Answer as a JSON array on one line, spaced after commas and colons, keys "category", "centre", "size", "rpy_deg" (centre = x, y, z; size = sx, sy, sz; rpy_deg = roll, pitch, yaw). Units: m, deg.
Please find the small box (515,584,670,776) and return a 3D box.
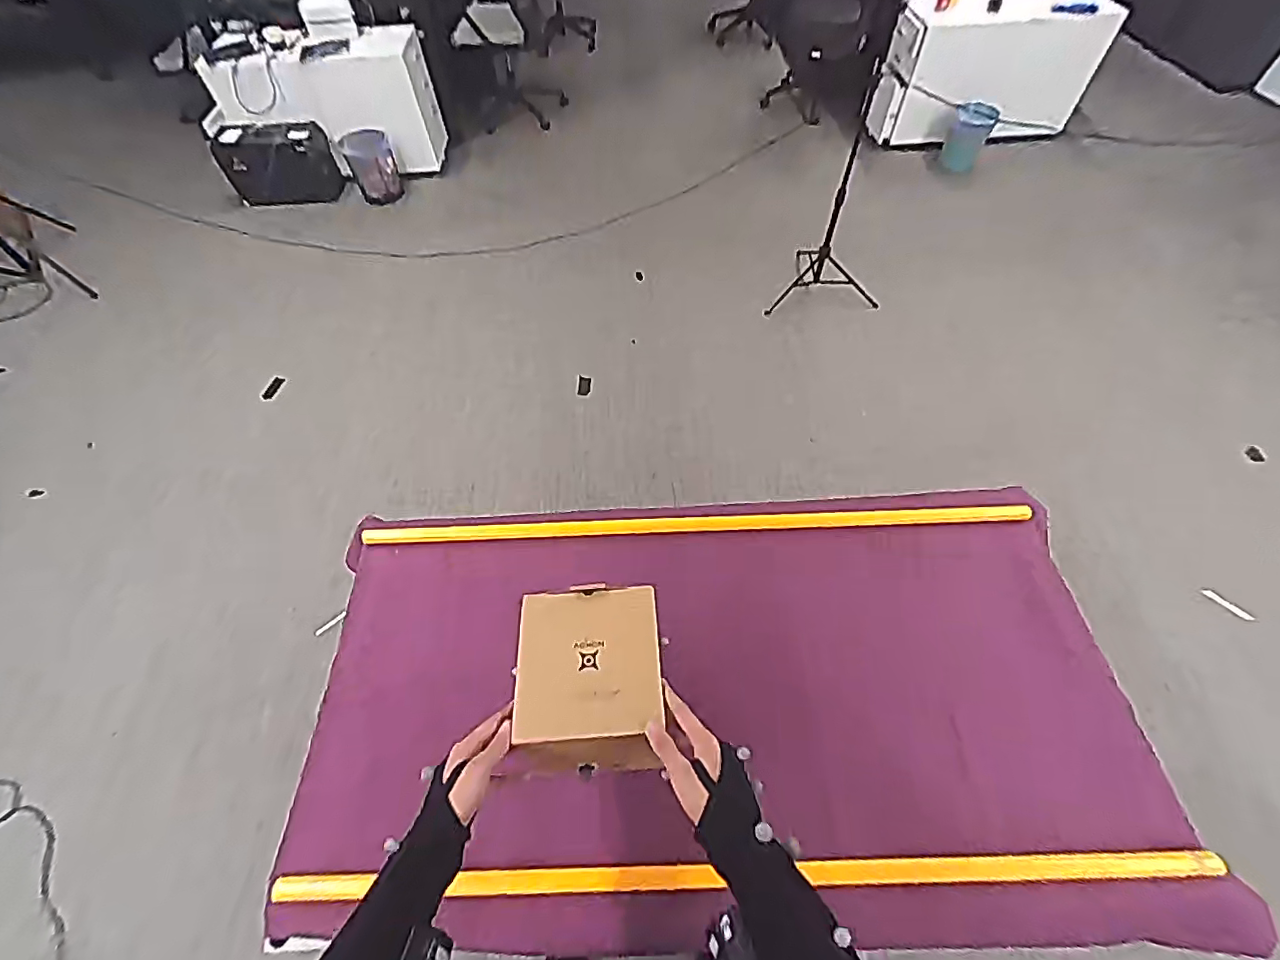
[{"category": "small box", "centre": [-0.053, 0.253, 0.682], "size": [0.168, 0.176, 0.179], "rpy_deg": [-4, 50, 0]}]
